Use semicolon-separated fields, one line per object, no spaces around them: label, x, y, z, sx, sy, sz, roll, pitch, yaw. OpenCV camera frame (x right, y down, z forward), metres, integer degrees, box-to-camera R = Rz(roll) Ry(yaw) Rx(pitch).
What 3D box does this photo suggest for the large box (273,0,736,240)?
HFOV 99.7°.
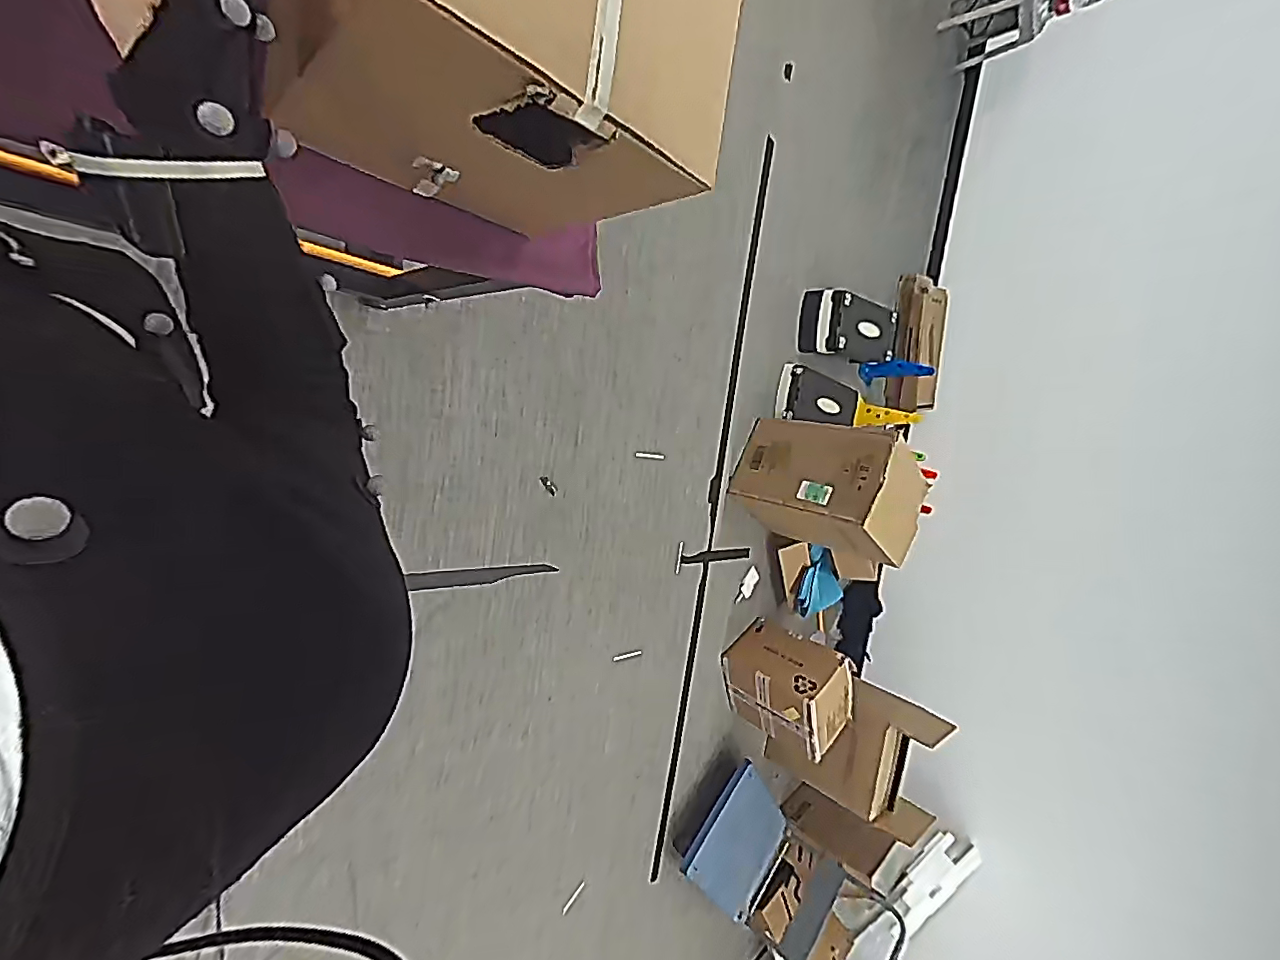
large box;-0.119;-0.492;0.497;0.320;0.320;0.408;2;97;-46
